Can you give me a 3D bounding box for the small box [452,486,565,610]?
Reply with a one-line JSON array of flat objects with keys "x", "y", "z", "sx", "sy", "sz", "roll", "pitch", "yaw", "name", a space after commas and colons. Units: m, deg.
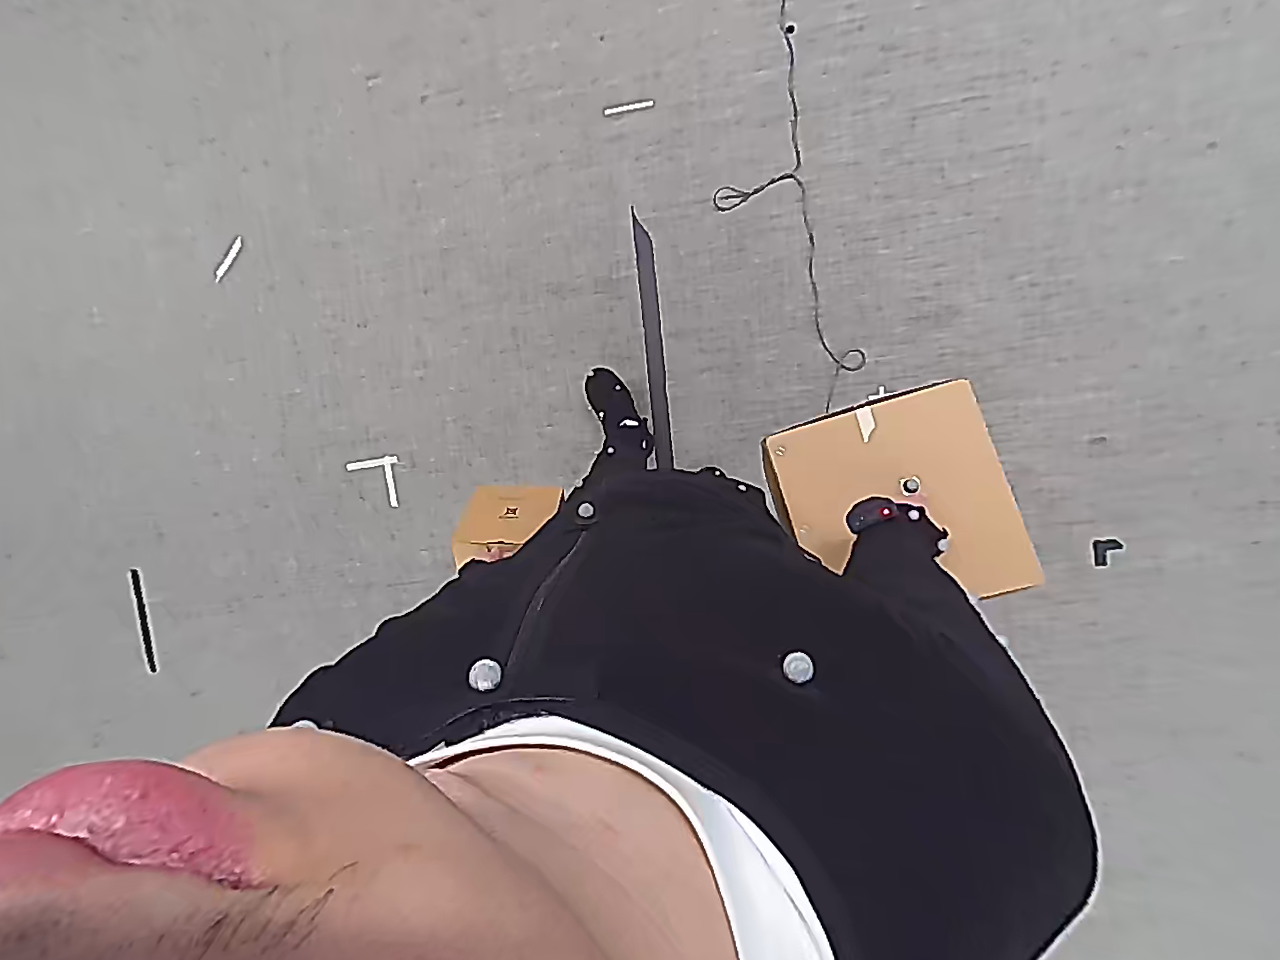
[{"x": -0.235, "y": 0.128, "z": 1.016, "sx": 0.168, "sy": 0.179, "sz": 0.176, "roll": 1, "pitch": 121, "yaw": 0, "name": "small box"}]
